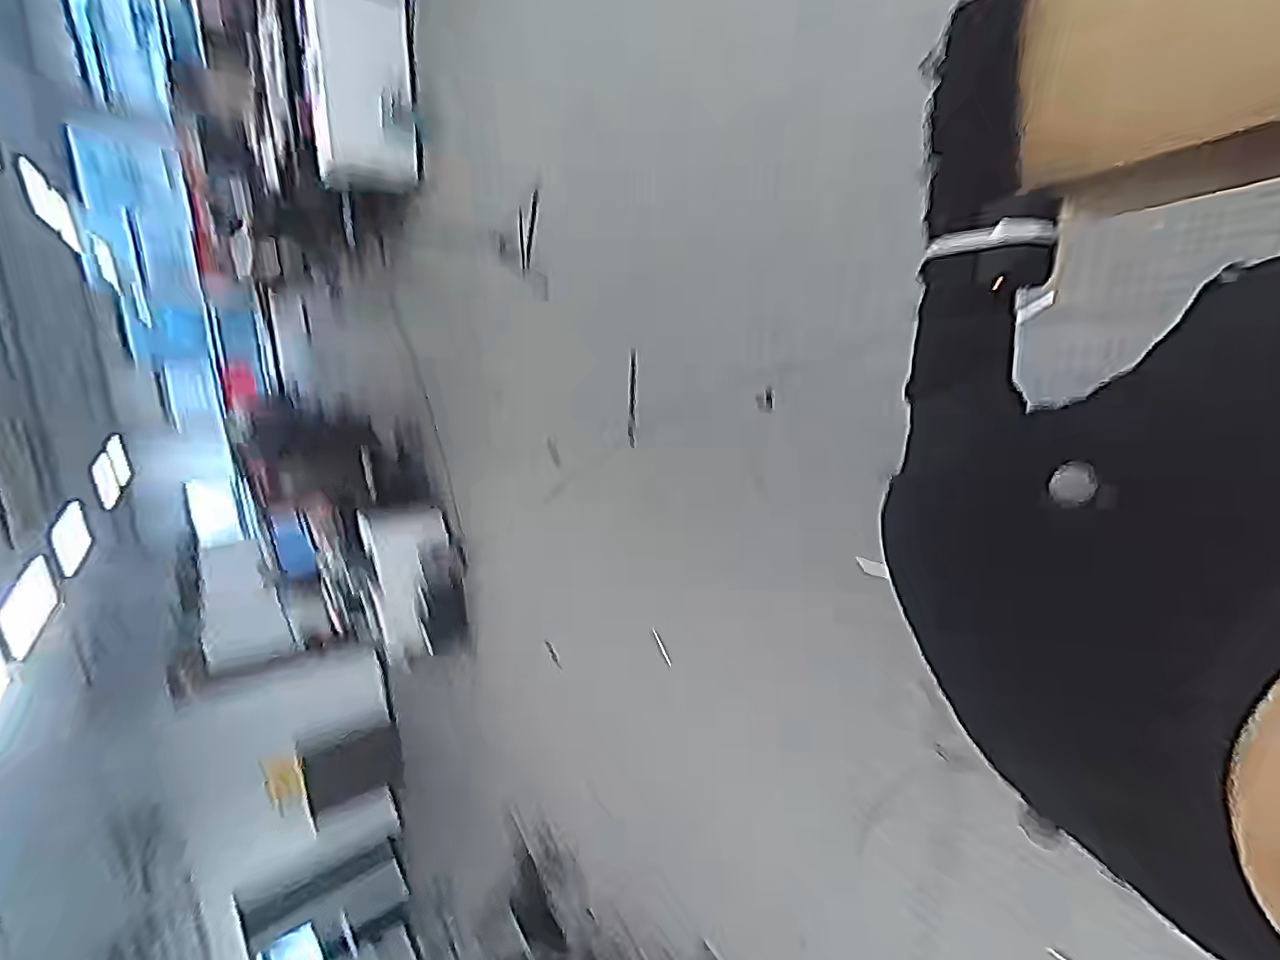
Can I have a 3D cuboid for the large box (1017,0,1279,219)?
[{"bbox_3d":[0.519,-0.406,0.355,0.408,0.320,0.320,3,107,47],"label":"large box"}]
